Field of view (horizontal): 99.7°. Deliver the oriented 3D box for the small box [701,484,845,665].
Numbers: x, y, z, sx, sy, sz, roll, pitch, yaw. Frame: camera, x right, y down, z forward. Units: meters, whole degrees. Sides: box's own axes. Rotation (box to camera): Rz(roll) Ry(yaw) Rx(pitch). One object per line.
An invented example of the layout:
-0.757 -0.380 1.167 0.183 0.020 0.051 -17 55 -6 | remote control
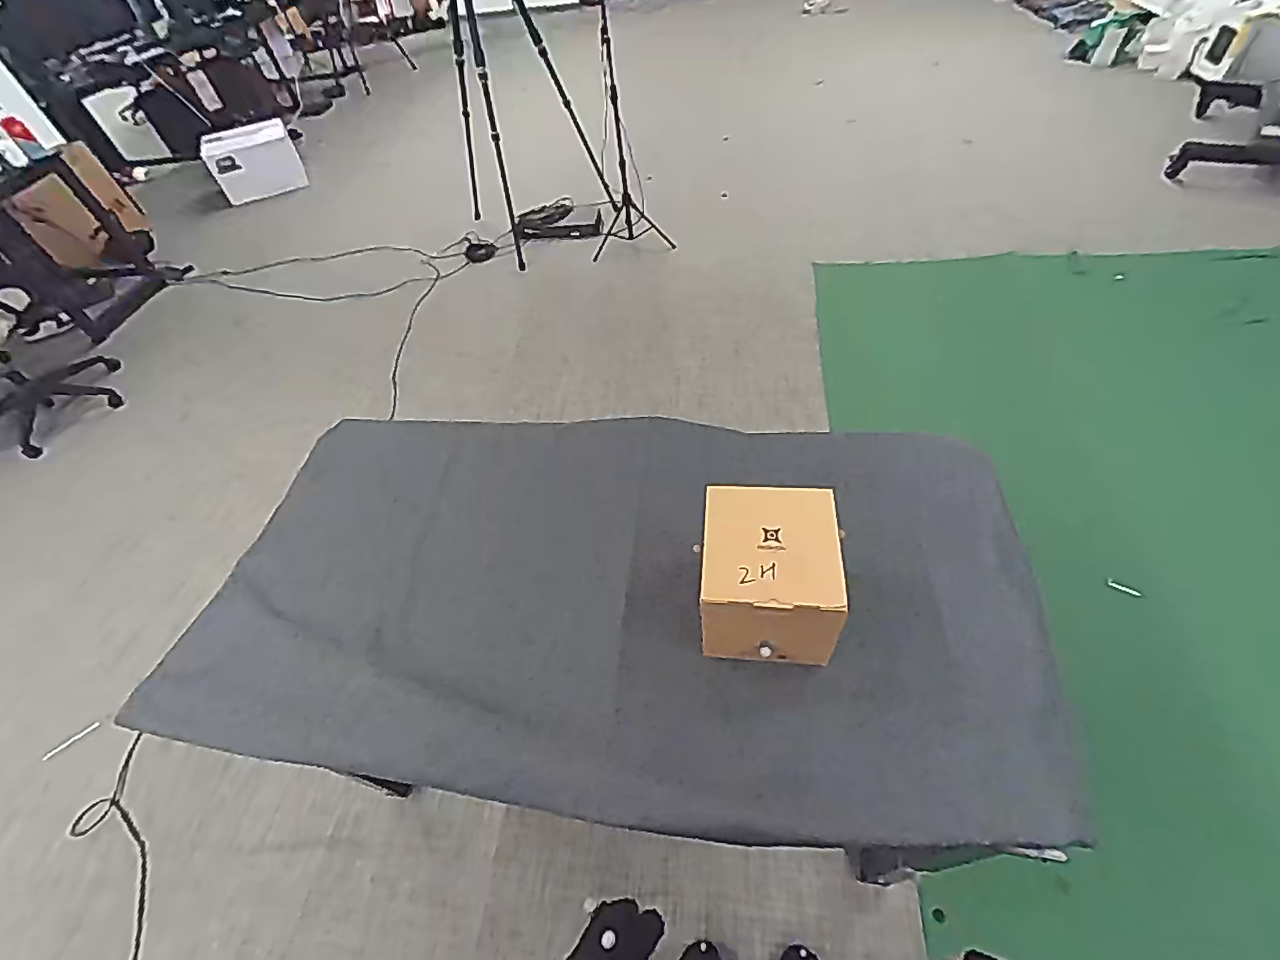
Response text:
0.170 0.126 0.730 0.168 0.176 0.179 2 50 10 | small box
